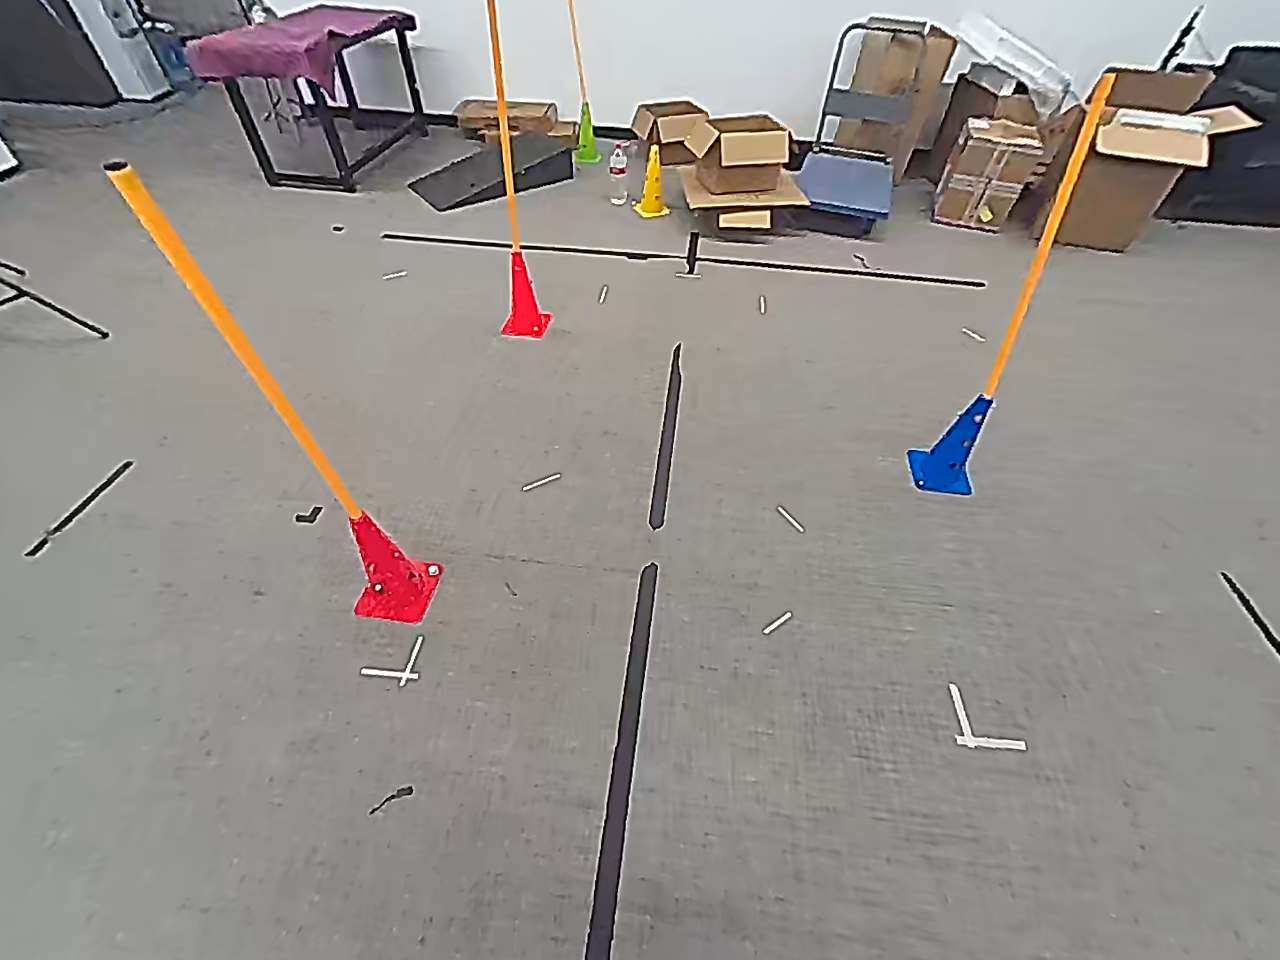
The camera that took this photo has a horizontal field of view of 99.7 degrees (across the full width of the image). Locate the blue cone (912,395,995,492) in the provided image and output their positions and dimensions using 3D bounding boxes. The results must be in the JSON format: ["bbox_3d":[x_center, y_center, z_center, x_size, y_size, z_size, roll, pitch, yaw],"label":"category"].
[{"bbox_3d":[1.101,-0.145,1.852,0.193,0.380,0.192,9,49,6],"label":"blue cone"}]

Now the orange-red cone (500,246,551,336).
[{"bbox_3d":[-0.523,-0.848,2.379,0.198,0.360,0.199,9,48,5],"label":"orange-red cone"}]
